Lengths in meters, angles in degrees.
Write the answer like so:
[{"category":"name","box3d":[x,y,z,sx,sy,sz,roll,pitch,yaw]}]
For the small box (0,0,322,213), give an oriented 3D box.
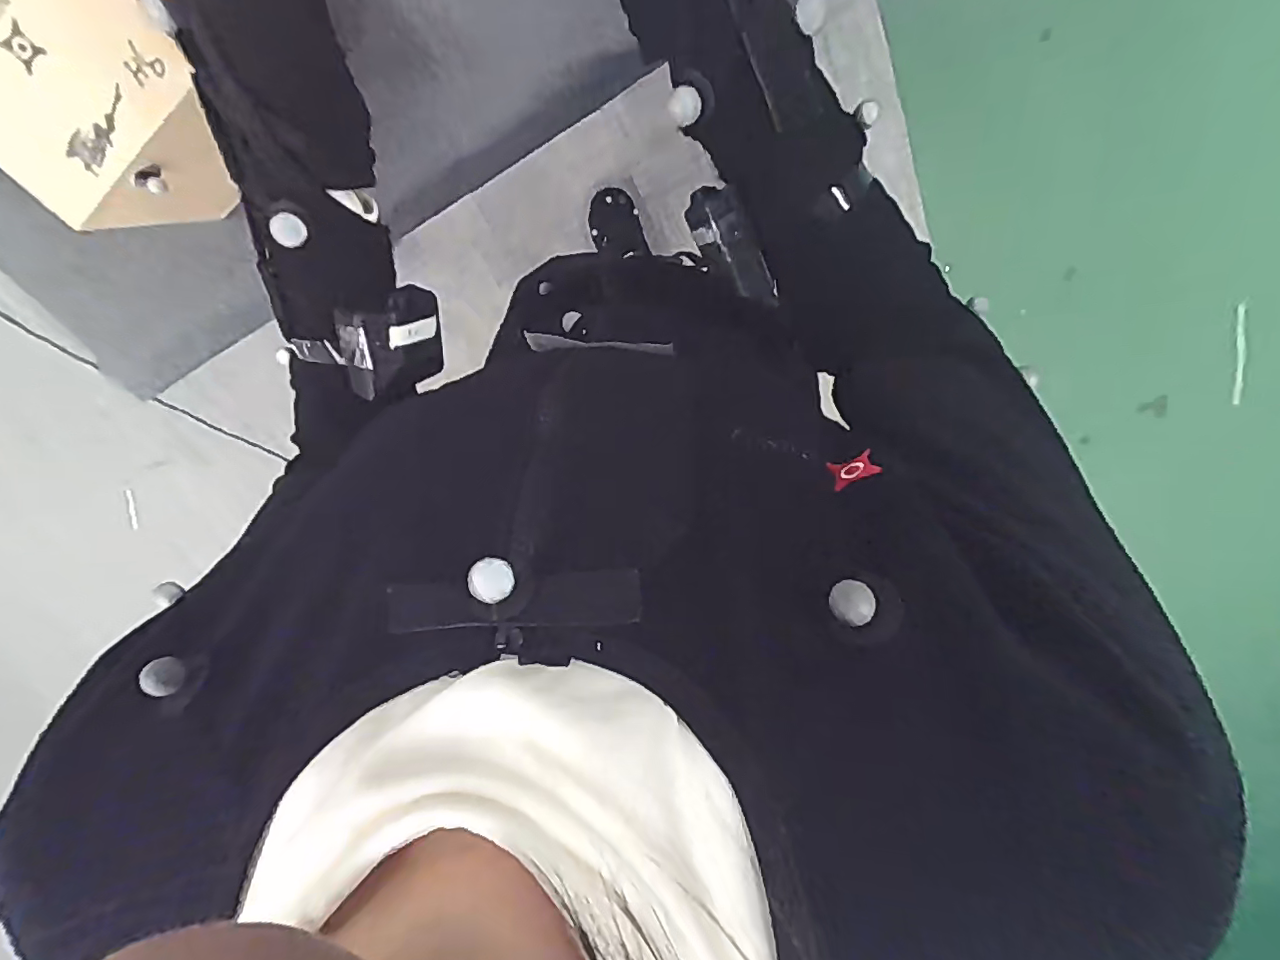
[{"category":"small box","box3d":[-0.407,-0.338,0.425,0.168,0.176,0.179,-32,113,17]}]
